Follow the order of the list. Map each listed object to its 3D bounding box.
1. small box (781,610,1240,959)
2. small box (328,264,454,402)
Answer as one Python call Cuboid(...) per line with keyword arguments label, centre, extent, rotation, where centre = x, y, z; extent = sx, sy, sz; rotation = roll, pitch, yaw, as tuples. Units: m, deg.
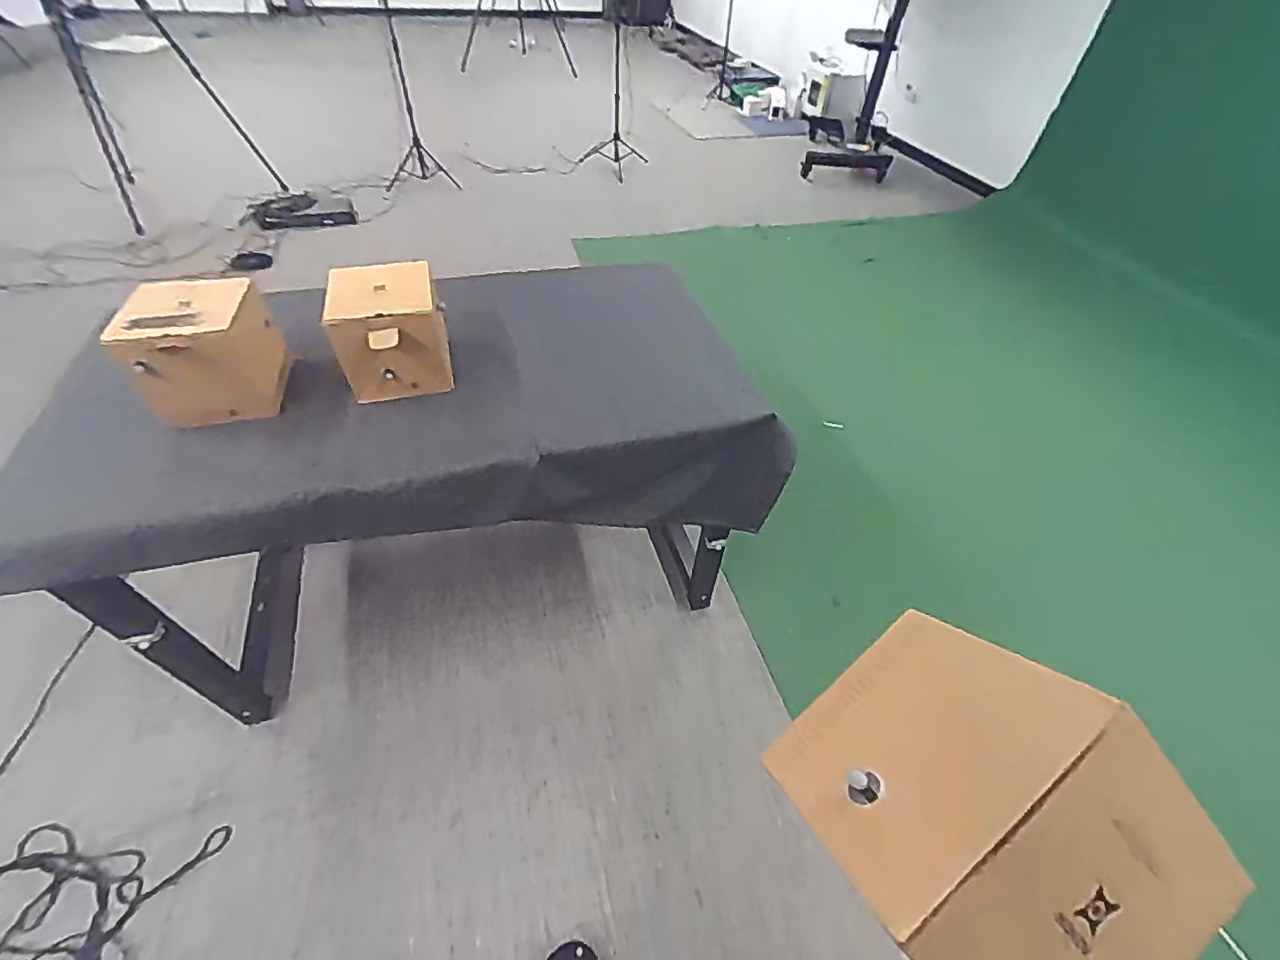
Cuboid(label="small box", centre=(0.223, 0.223, 0.372), extent=(0.179, 0.176, 0.168), rotation=(-42, 102, -7))
Cuboid(label="small box", centre=(-0.437, -0.264, 0.970), extent=(0.168, 0.176, 0.179), rotation=(-11, 50, -14))
